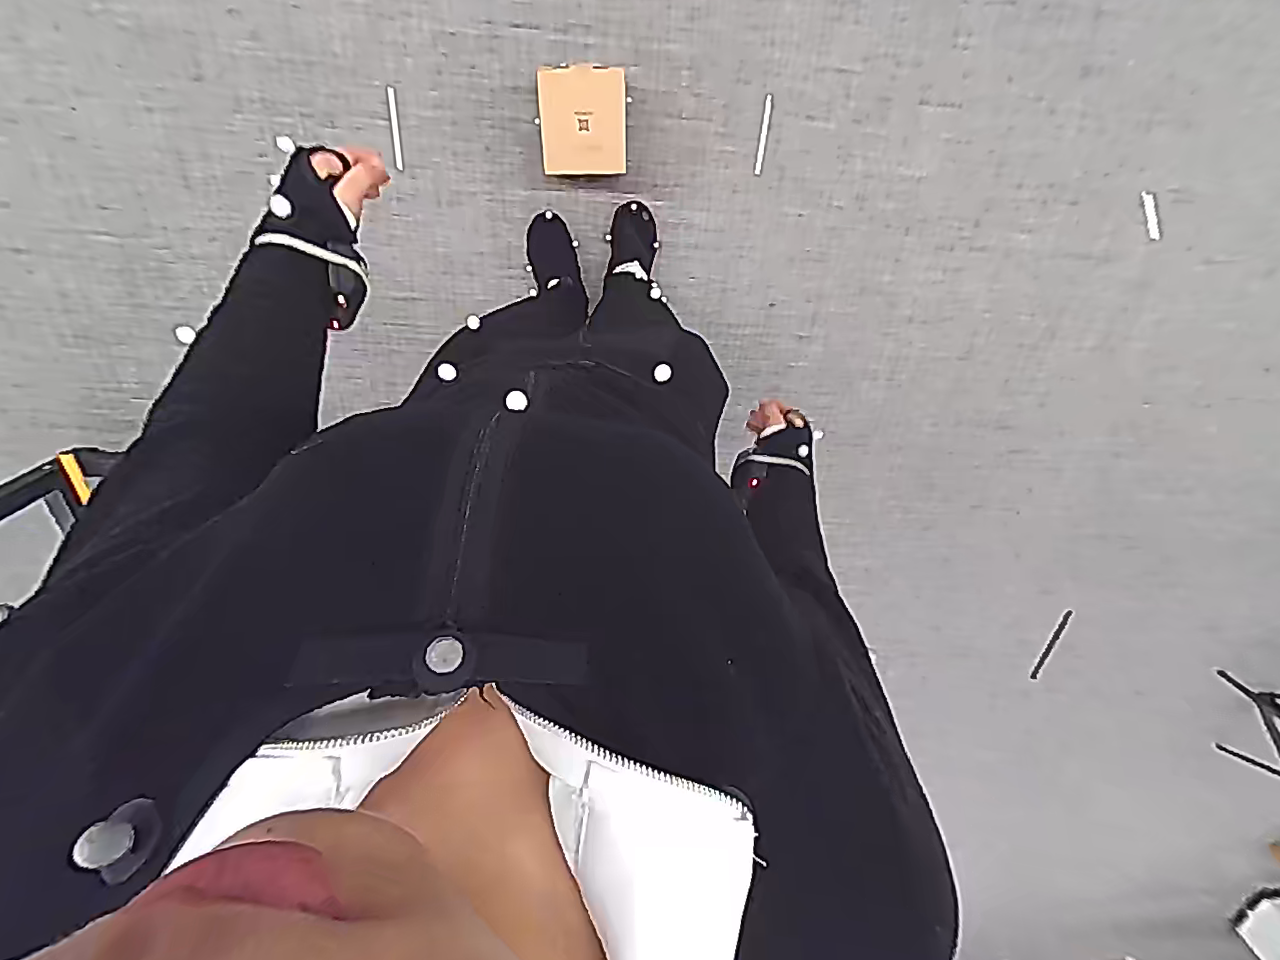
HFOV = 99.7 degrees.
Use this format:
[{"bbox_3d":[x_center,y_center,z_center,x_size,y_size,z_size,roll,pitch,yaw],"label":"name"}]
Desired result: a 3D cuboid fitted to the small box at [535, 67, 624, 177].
[{"bbox_3d":[-0.119,-0.722,1.105,0.168,0.176,0.179,-2,121,-2],"label":"small box"}]
